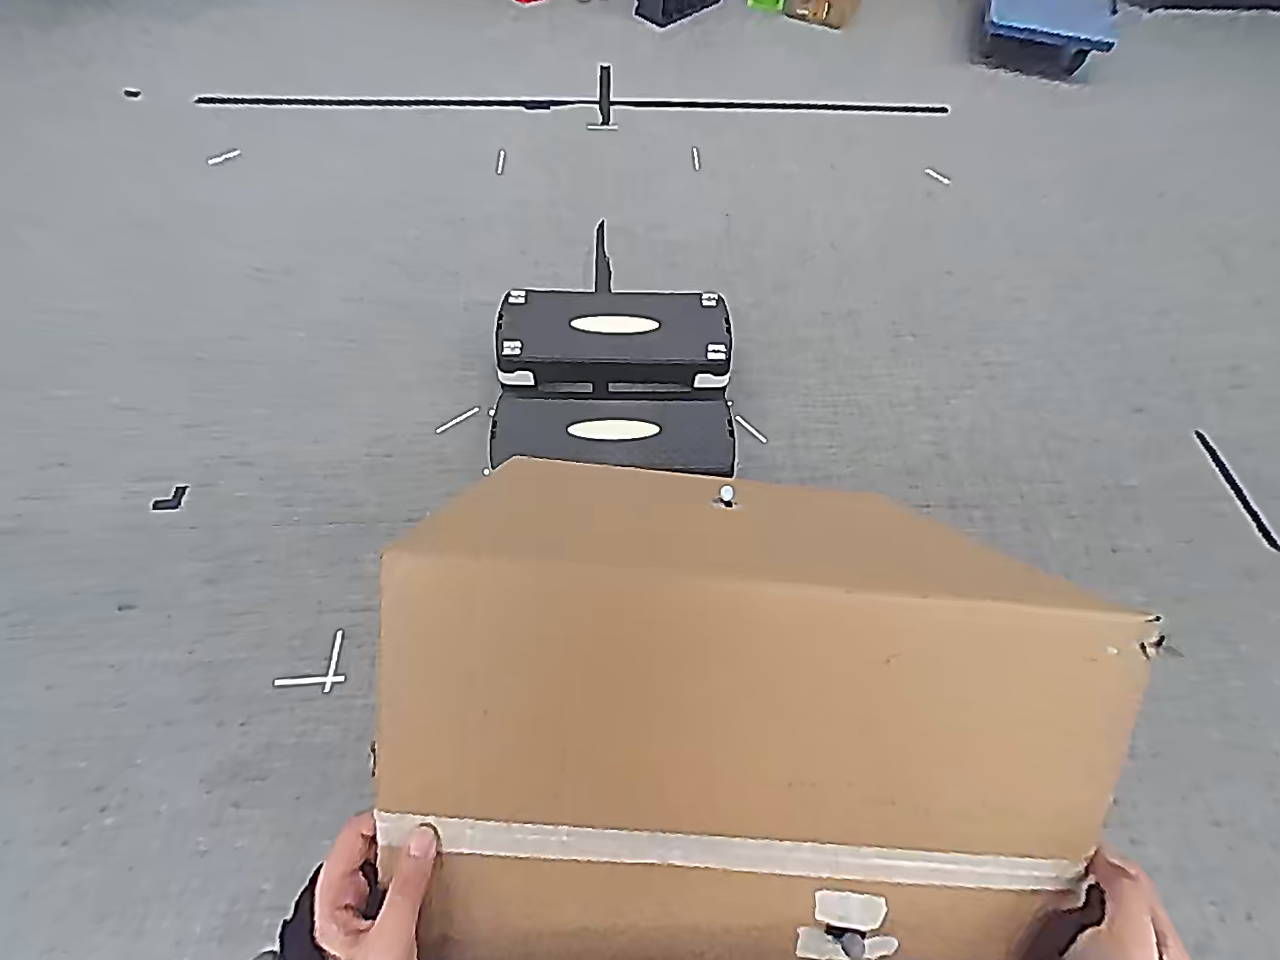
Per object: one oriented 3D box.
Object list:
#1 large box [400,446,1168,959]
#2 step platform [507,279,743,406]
[{"bbox_3d":[0.062,0.150,0.446,0.408,0.320,0.320,5,102,-3],"label":"large box"},{"bbox_3d":[-0.043,-0.408,1.600,0.684,0.204,0.286,5,61,-1],"label":"step platform"}]
